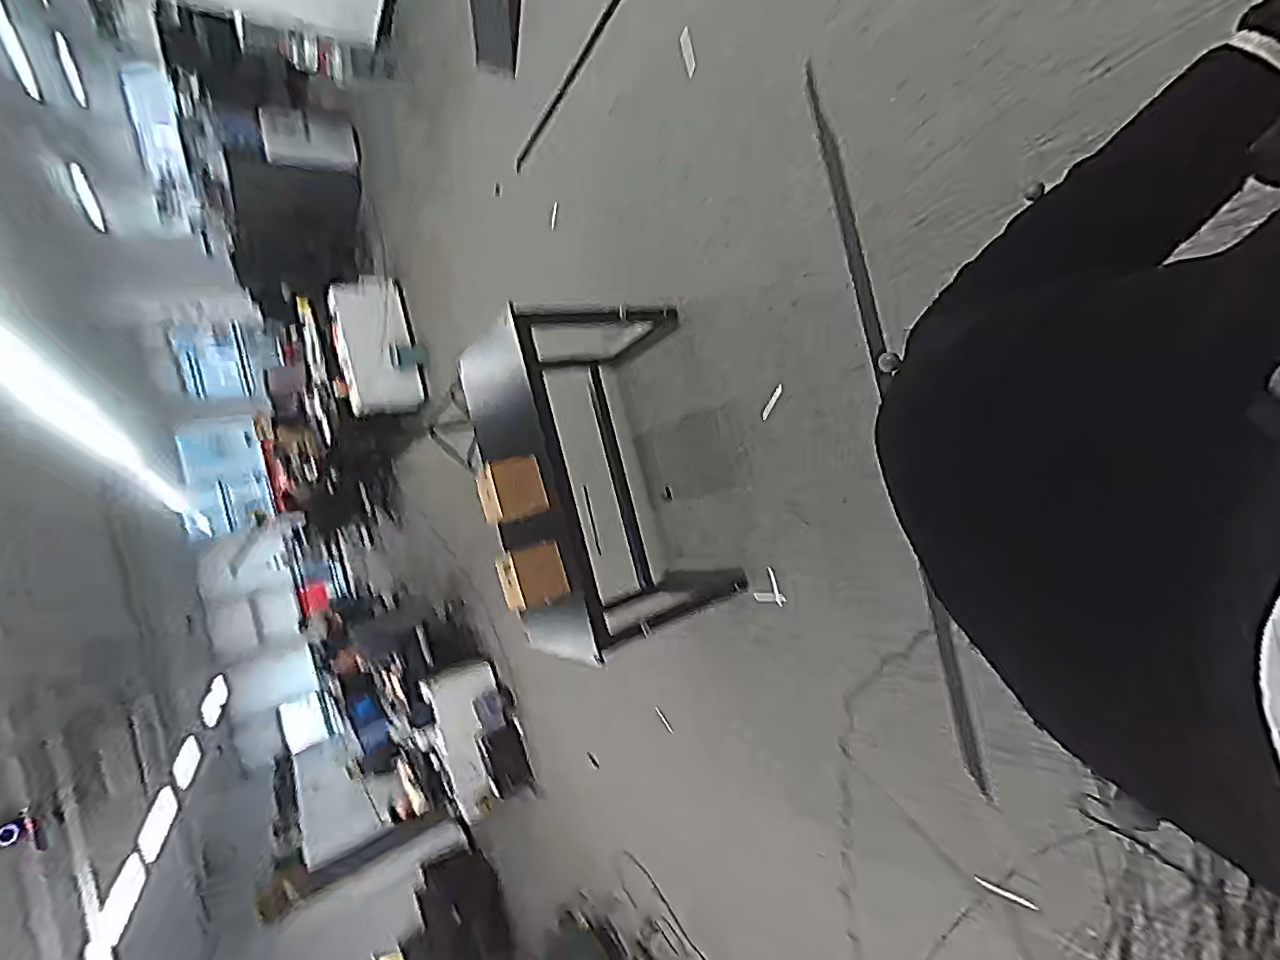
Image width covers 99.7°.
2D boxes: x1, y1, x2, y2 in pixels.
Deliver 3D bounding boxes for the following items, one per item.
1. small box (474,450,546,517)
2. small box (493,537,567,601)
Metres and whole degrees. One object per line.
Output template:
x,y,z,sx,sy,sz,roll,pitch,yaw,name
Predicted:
-0.439,0.011,1.832,0.168,0.176,0.179,-22,84,55,small box
-0.372,0.298,1.833,0.168,0.176,0.179,-22,84,55,small box
